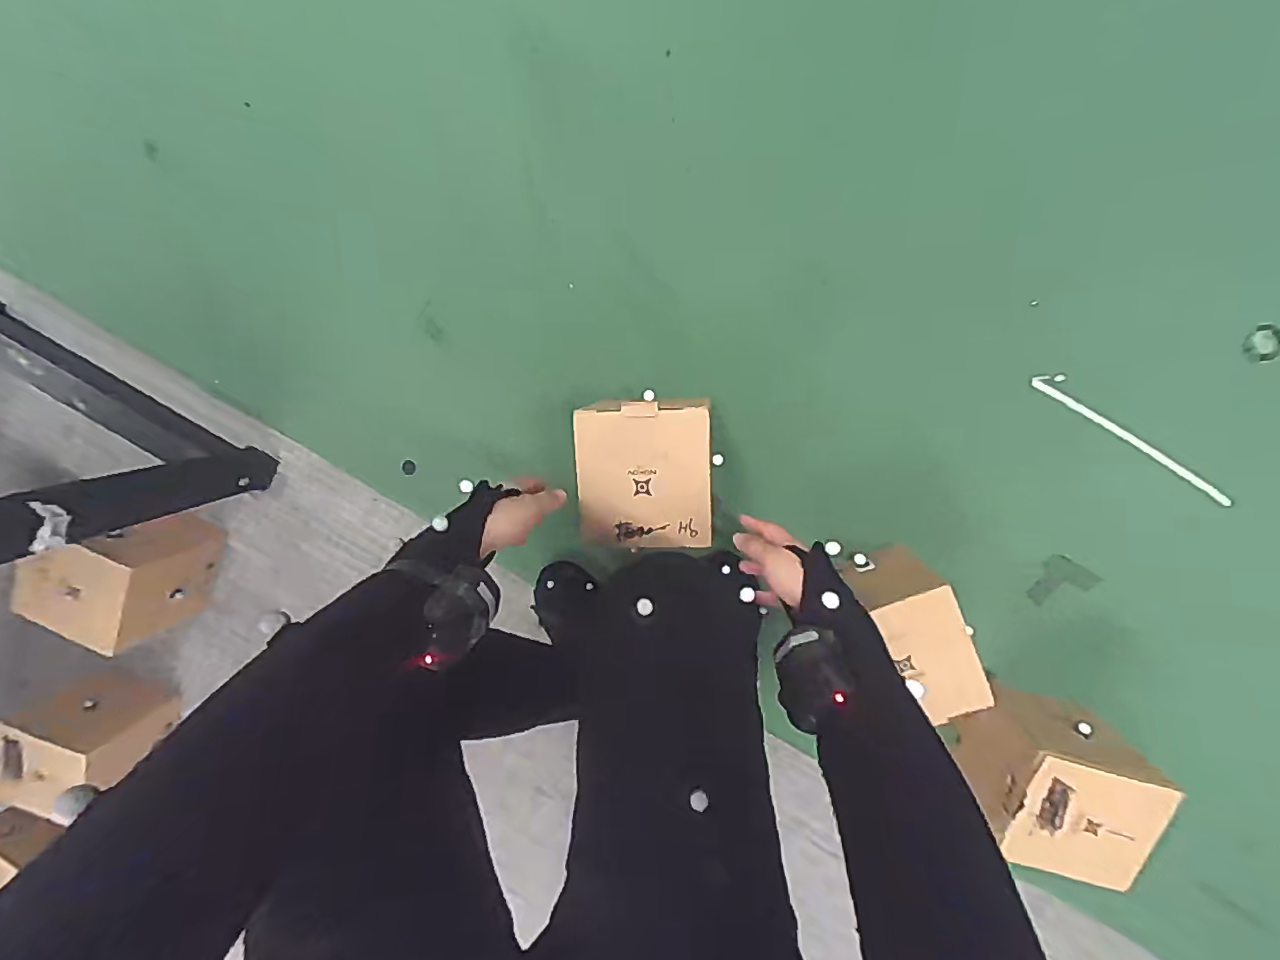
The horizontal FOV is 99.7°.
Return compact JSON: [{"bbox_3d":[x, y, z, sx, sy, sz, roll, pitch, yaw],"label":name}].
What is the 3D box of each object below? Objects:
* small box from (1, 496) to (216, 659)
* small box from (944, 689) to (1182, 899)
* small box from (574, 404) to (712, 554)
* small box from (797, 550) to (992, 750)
[{"bbox_3d":[-0.836,0.144,0.865,0.179,0.176,0.168,26,104,1],"label":"small box"},{"bbox_3d":[0.566,0.423,0.757,0.179,0.176,0.168,15,104,3],"label":"small box"},{"bbox_3d":[0.012,-0.011,0.727,0.168,0.176,0.179,0,102,7],"label":"small box"},{"bbox_3d":[0.333,0.222,0.740,0.168,0.176,0.179,-24,98,11],"label":"small box"}]
